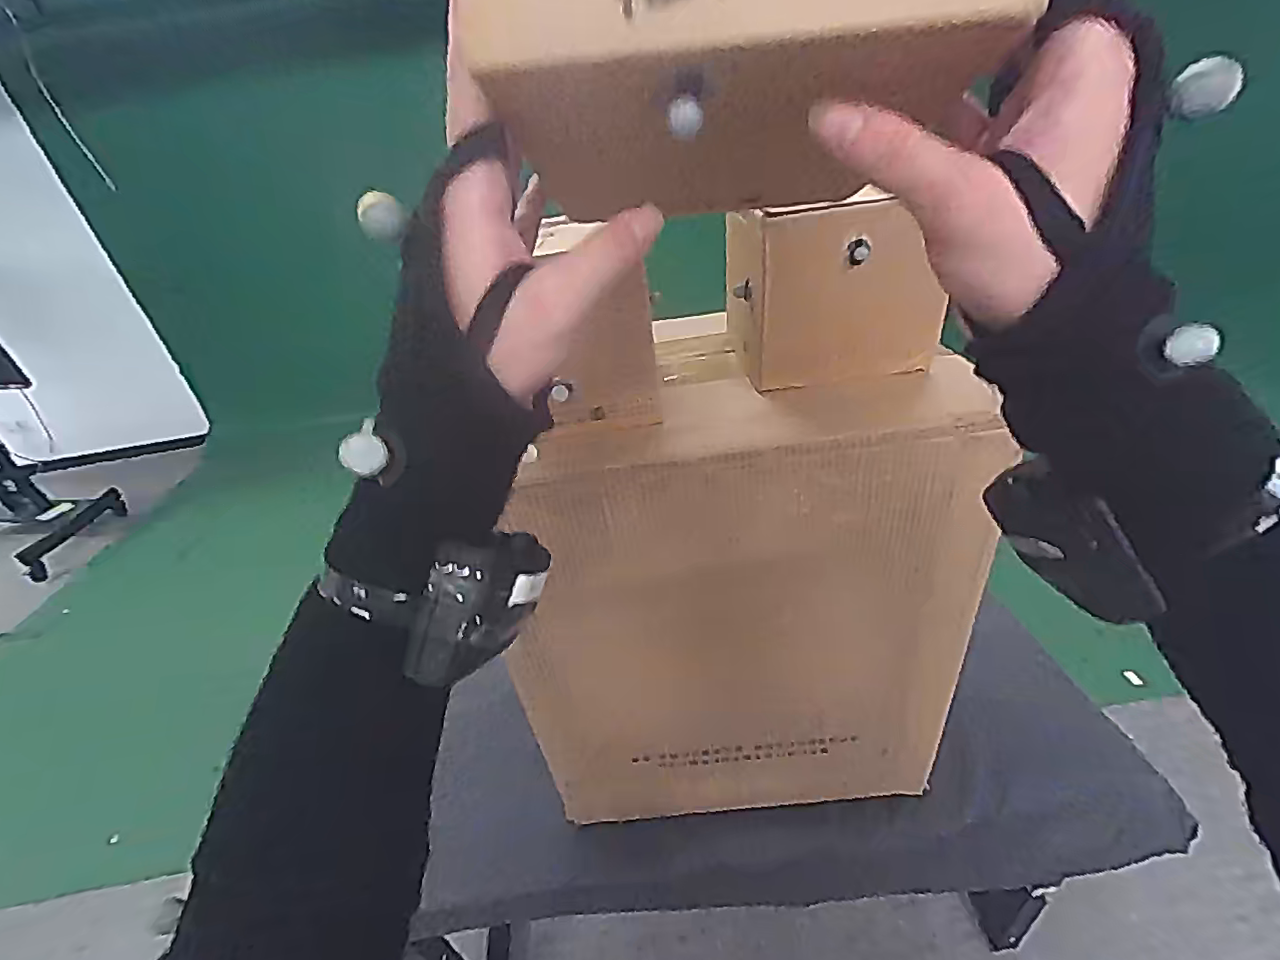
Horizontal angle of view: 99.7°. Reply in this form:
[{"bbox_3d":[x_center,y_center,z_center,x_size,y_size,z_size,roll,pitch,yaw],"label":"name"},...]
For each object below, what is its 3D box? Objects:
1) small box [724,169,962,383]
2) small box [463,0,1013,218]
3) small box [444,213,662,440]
[{"bbox_3d":[0.188,-0.210,0.561,0.179,0.176,0.168,-6,36,0],"label":"small box"},{"bbox_3d":[0.030,-0.232,0.225,0.168,0.179,0.176,-2,9,5],"label":"small box"},{"bbox_3d":[-0.072,-0.160,0.545,0.168,0.176,0.179,-8,36,2],"label":"small box"}]
